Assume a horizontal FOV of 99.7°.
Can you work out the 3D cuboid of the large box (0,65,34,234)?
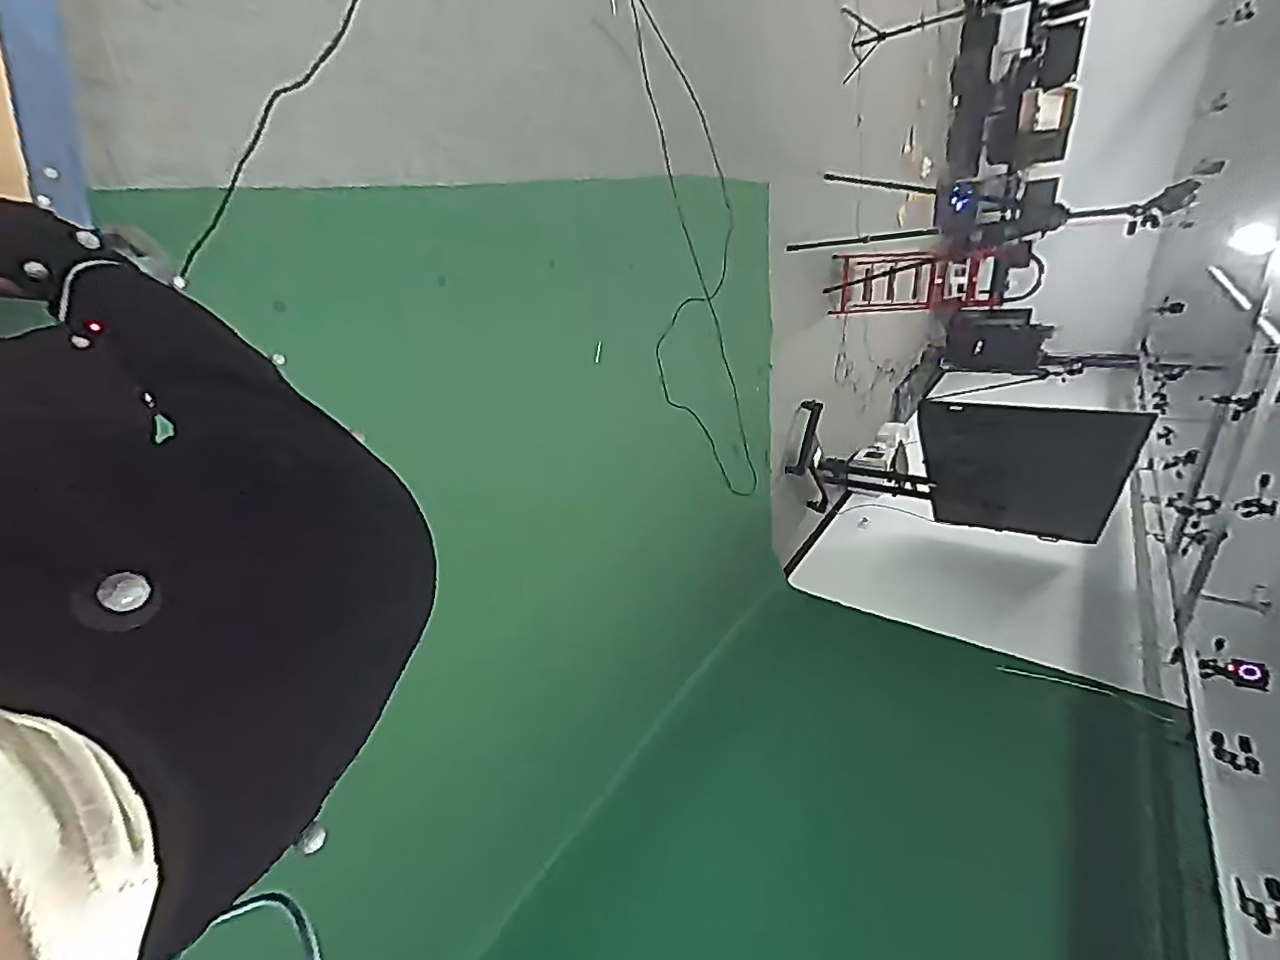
[{"bbox_3d":[-1.069,-0.565,0.690,0.320,0.320,0.408,-17,112,-51],"label":"large box"}]
